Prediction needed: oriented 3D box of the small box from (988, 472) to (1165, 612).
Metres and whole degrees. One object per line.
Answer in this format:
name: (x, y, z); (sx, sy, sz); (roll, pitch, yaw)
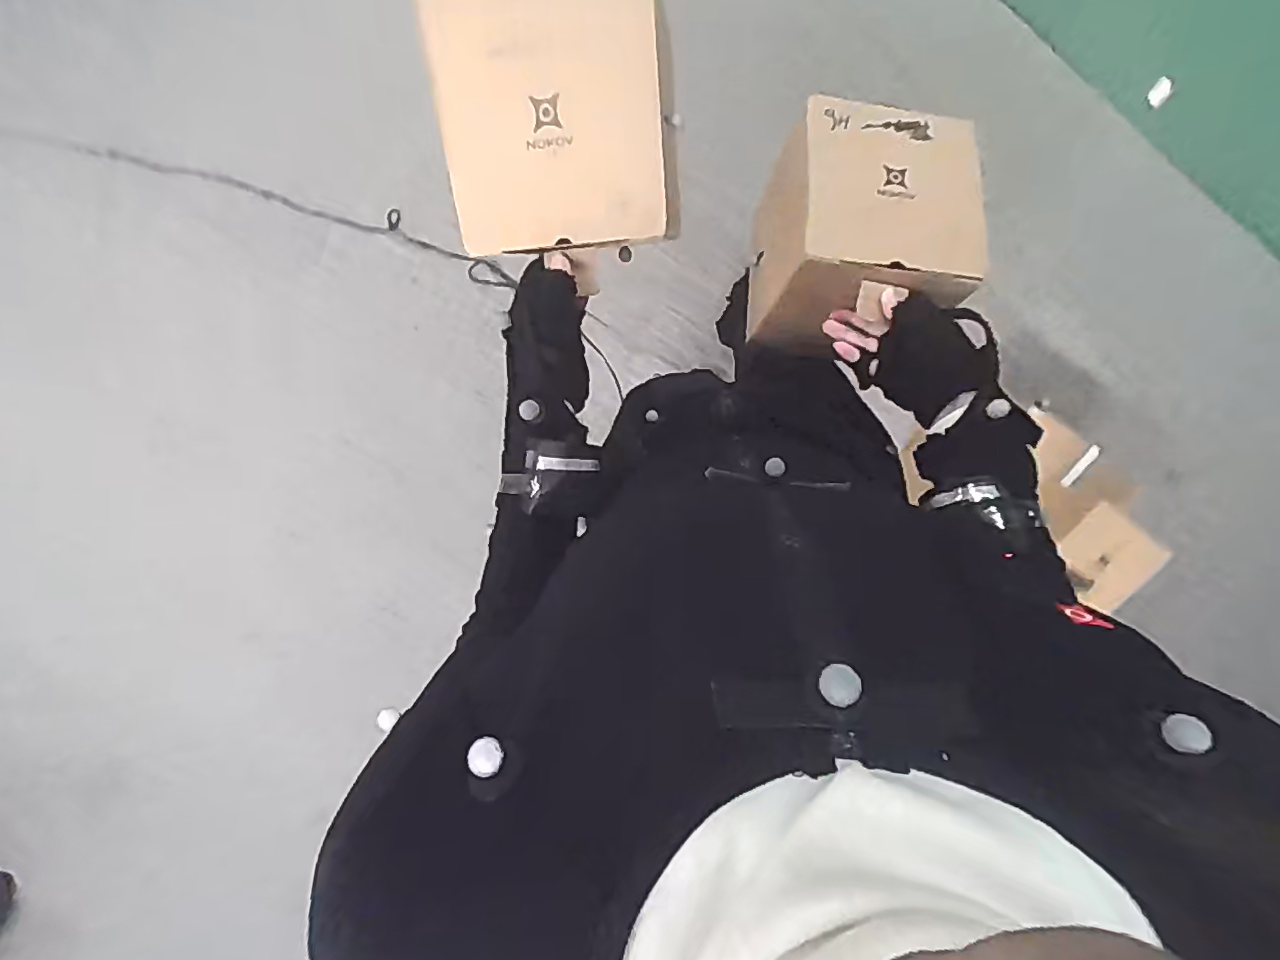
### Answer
small box: (0.813, 0.111, 1.038); (0.168, 0.176, 0.179); (34, 107, -2)

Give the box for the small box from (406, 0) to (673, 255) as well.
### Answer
small box: (-0.064, -0.302, 0.469); (0.168, 0.176, 0.179); (-3, 114, 10)
